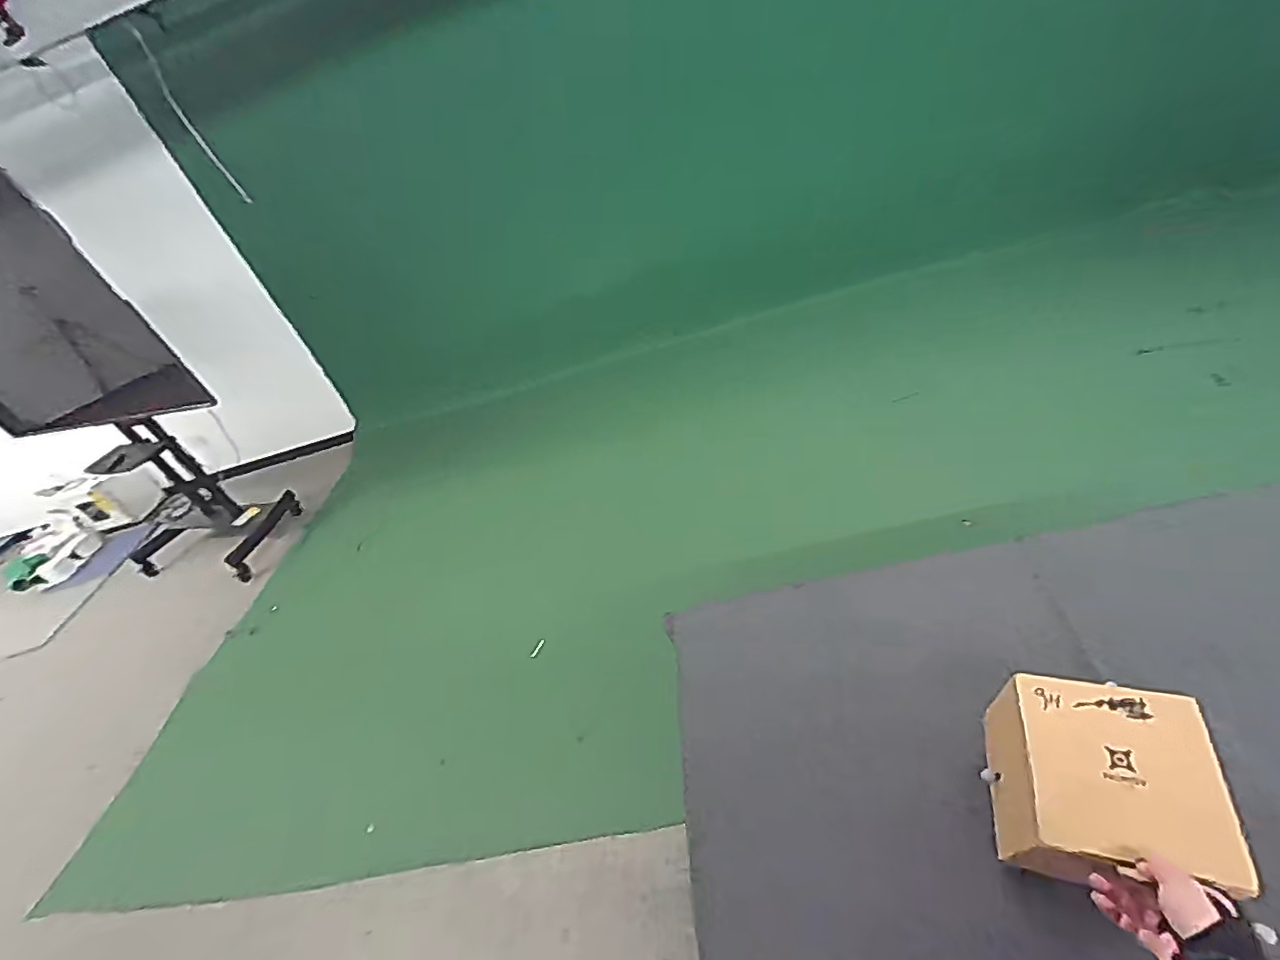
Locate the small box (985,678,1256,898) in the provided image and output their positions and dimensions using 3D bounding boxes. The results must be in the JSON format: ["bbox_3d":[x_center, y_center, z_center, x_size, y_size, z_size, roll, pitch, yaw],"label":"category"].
[{"bbox_3d":[0.512,0.349,0.614,0.168,0.176,0.179,-1,50,20],"label":"small box"}]
